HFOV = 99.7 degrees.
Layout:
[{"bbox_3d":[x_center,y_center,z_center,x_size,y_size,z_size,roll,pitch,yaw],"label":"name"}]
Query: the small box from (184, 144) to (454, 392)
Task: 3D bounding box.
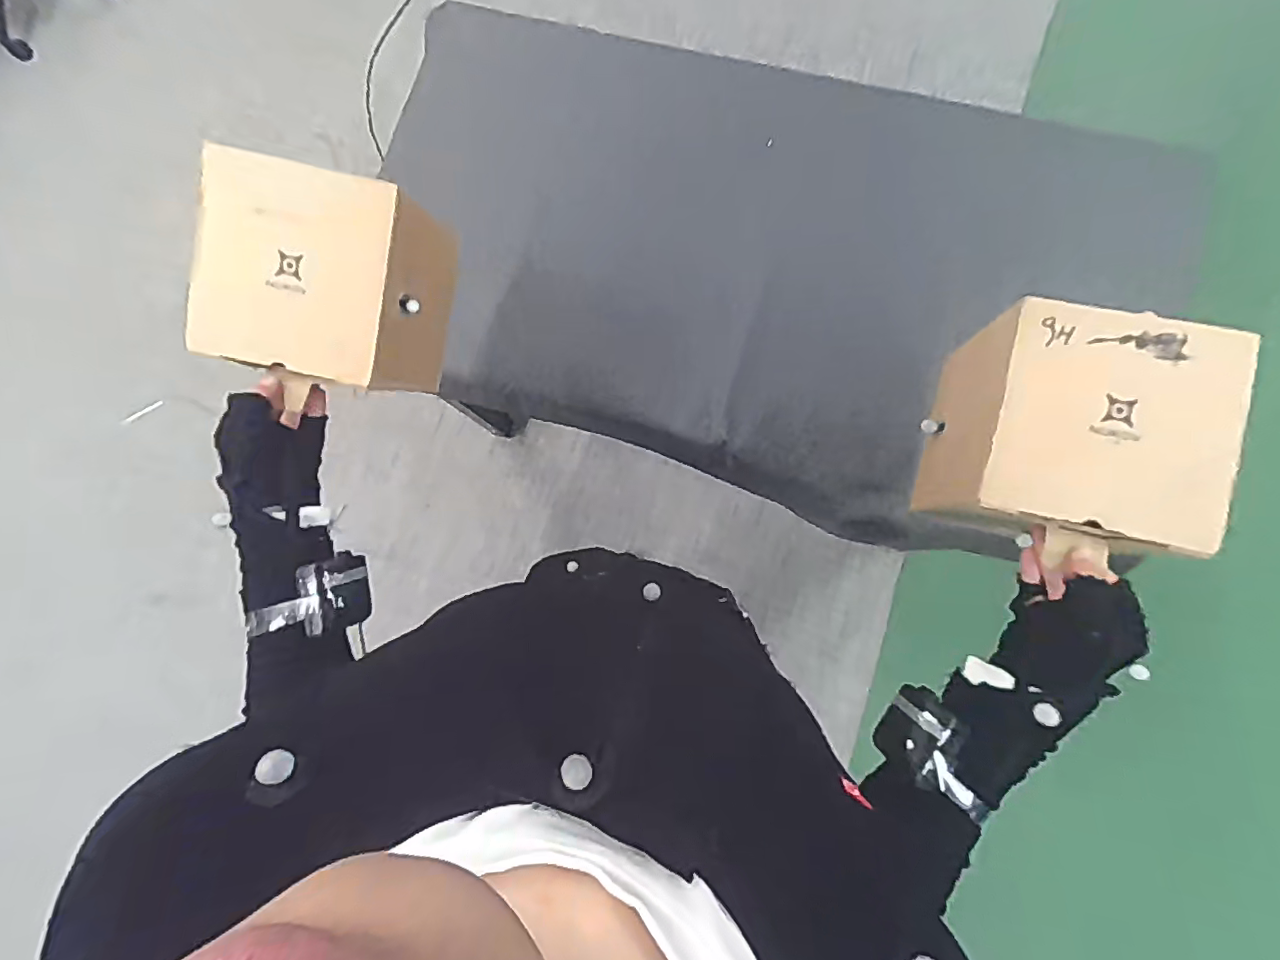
[{"bbox_3d":[-0.299,-0.189,0.538,0.168,0.176,0.179,11,98,-3],"label":"small box"}]
